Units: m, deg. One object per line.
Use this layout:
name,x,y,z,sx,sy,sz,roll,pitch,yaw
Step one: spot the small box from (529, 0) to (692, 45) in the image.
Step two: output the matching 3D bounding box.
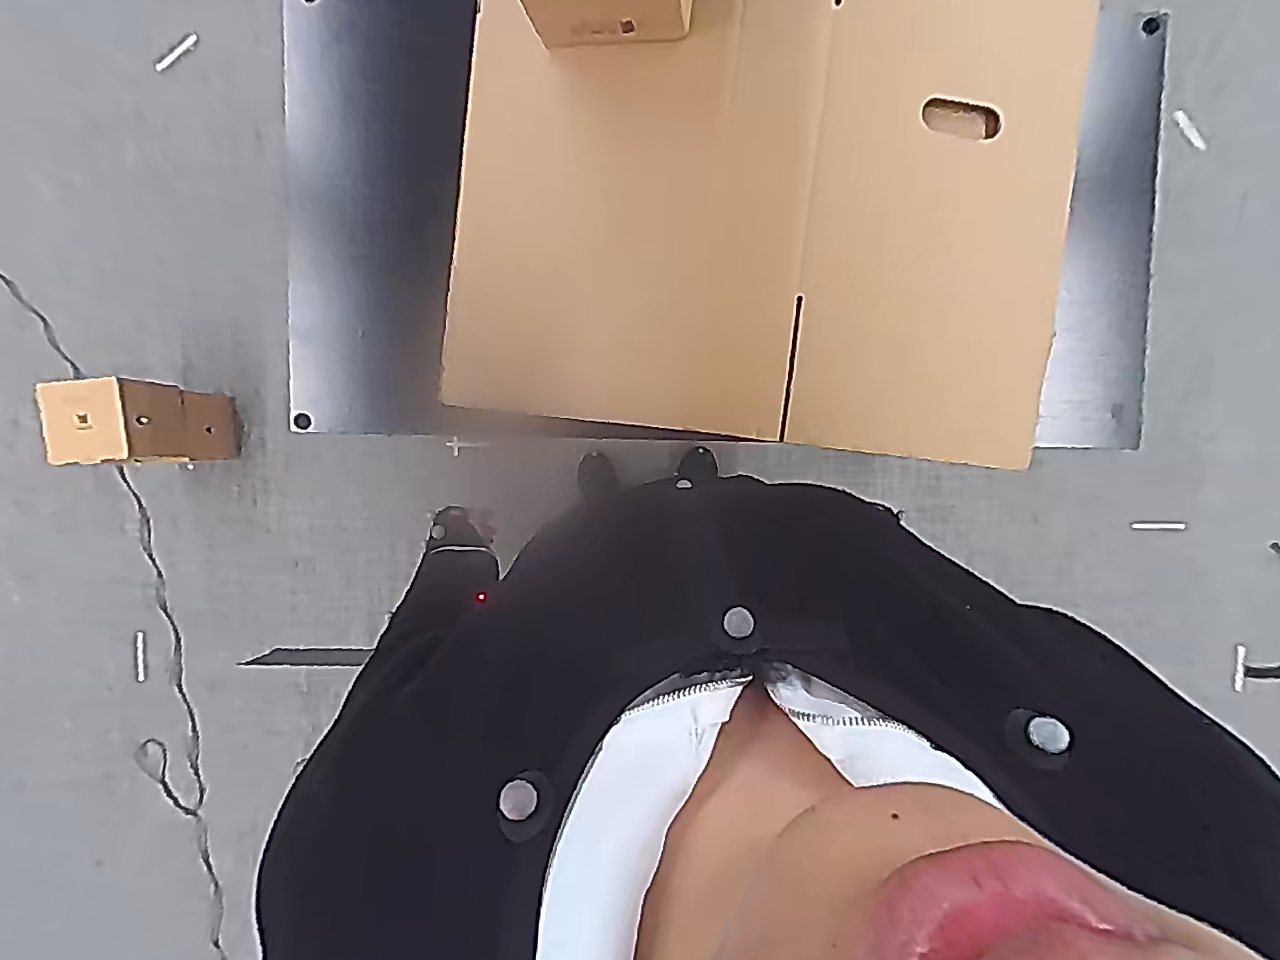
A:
small box,-0.036,-0.556,0.500,0.168,0.176,0.179,7,92,13

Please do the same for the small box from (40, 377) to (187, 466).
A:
small box,-1.167,-0.128,1.215,0.168,0.176,0.179,-6,92,-2

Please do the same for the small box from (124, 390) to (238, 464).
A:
small box,-1.170,-0.131,1.377,0.168,0.176,0.179,-3,94,-1
